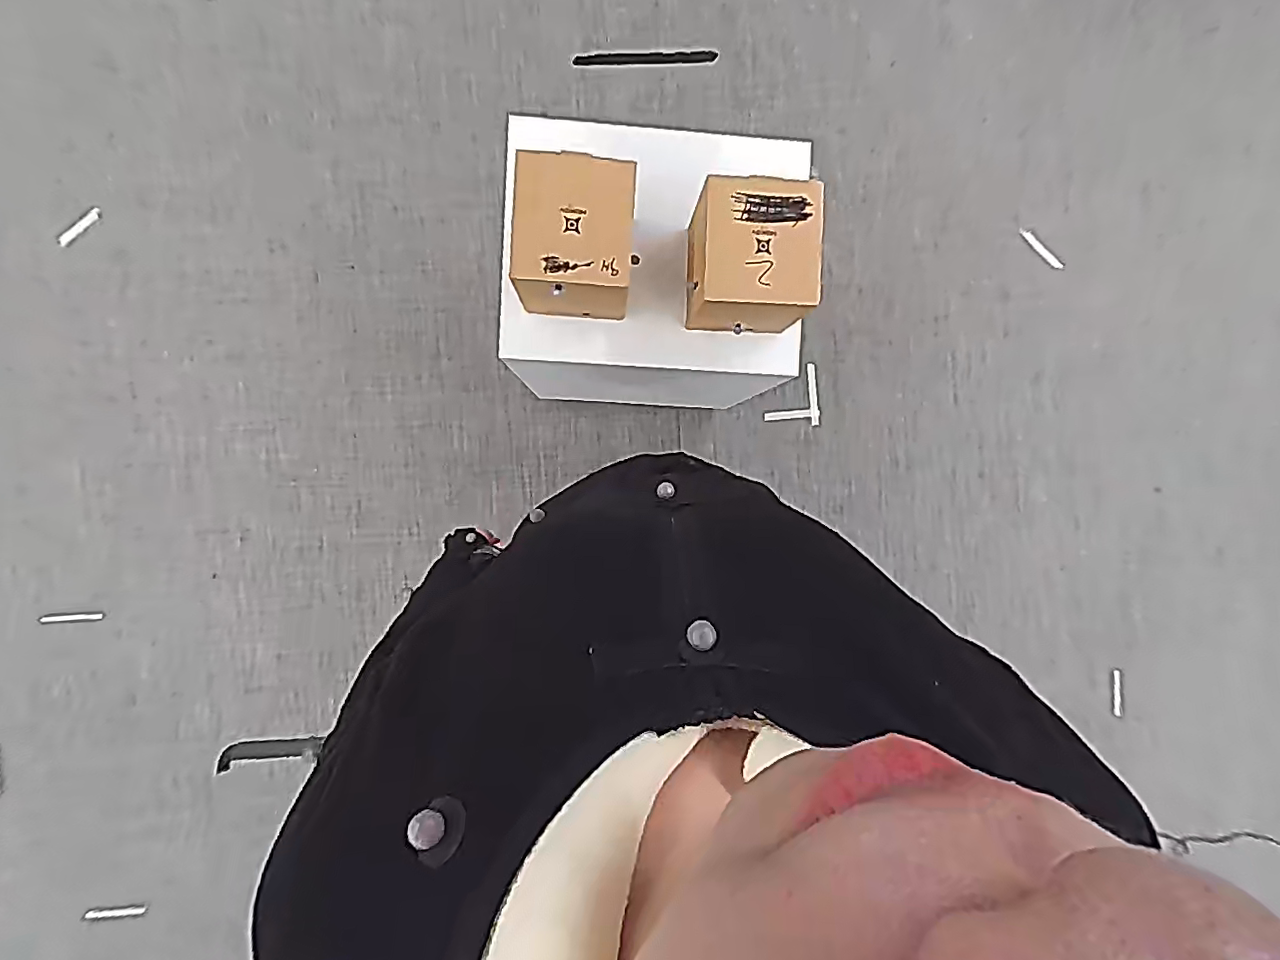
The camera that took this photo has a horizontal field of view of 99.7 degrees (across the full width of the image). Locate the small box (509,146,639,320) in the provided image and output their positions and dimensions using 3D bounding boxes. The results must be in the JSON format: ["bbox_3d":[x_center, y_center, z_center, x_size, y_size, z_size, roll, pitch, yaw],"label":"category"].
[{"bbox_3d":[-0.095,-0.357,0.808,0.168,0.176,0.179,4,91,-4],"label":"small box"}]
